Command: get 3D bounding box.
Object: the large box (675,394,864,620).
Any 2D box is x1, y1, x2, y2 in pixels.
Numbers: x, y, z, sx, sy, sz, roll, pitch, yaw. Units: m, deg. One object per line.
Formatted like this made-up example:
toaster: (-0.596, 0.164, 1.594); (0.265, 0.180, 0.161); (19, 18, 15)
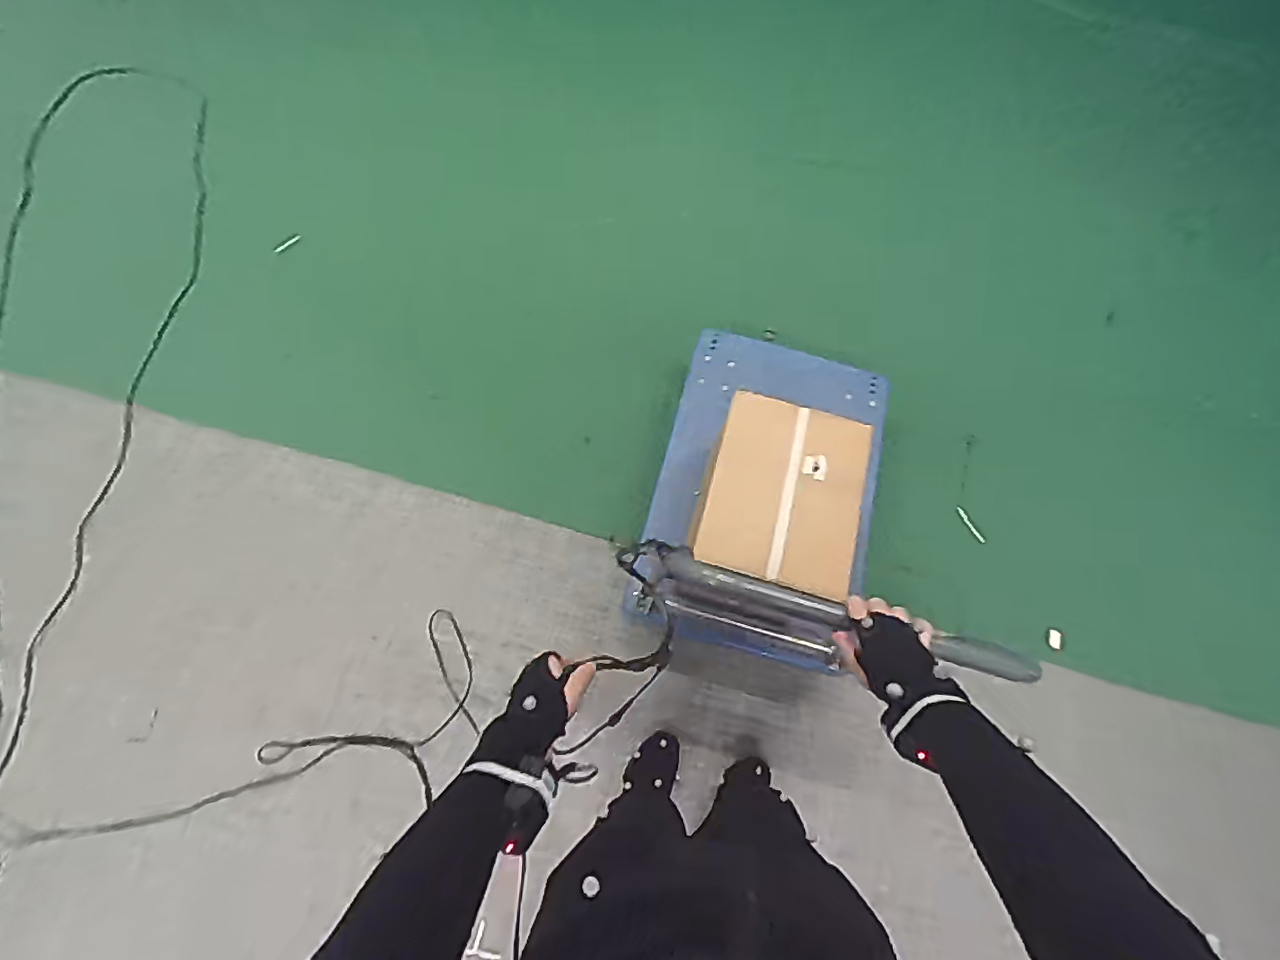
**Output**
large box: (0.289, 0.078, 1.267); (0.320, 0.320, 0.408); (17, 69, 2)
